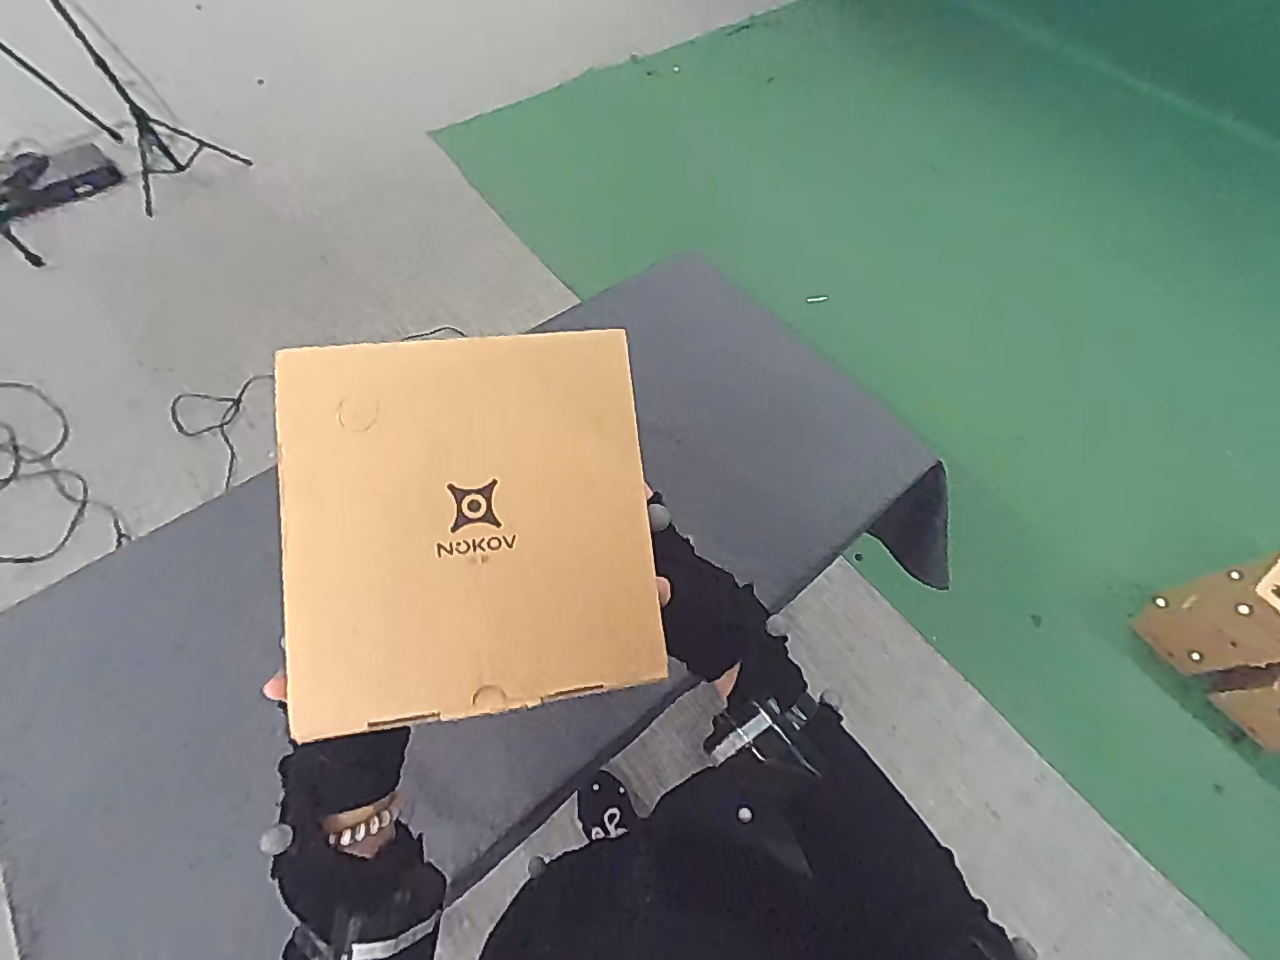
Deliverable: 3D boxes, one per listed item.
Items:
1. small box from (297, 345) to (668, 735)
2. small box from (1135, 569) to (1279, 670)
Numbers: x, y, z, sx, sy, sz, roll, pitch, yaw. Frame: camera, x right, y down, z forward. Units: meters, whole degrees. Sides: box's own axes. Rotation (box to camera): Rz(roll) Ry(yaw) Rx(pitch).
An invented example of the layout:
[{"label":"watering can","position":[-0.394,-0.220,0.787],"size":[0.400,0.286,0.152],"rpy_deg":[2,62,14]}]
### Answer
[{"label":"small box","position":[-0.088,0.032,0.340],"size":[0.168,0.176,0.179],"rpy_deg":[-6,84,-9]},{"label":"small box","position":[1.432,0.361,1.377],"size":[0.179,0.176,0.168],"rpy_deg":[-30,67,-16]}]
